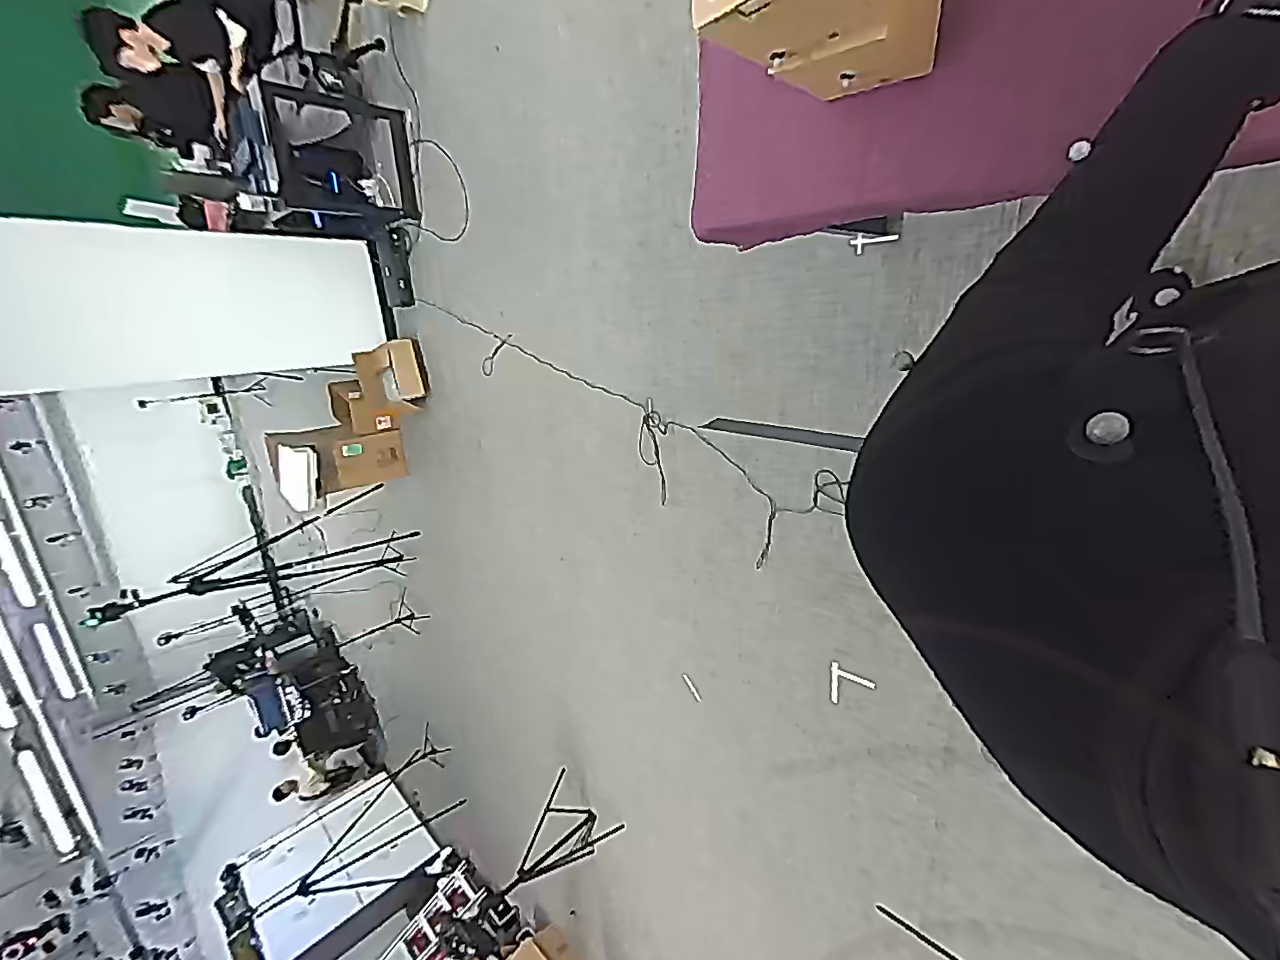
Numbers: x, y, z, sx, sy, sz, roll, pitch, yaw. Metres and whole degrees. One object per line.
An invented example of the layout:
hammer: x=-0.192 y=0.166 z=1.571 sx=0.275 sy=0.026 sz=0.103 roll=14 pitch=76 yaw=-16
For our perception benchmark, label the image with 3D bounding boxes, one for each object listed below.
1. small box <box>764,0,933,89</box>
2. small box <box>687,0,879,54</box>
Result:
small box: x=0.285 y=-0.651 z=0.723 sx=0.168 sy=0.176 sz=0.179 roll=17 pitch=117 yaw=41
small box: x=0.167 y=-0.621 z=0.612 sx=0.168 sy=0.176 sz=0.179 roll=12 pitch=113 yaw=43
